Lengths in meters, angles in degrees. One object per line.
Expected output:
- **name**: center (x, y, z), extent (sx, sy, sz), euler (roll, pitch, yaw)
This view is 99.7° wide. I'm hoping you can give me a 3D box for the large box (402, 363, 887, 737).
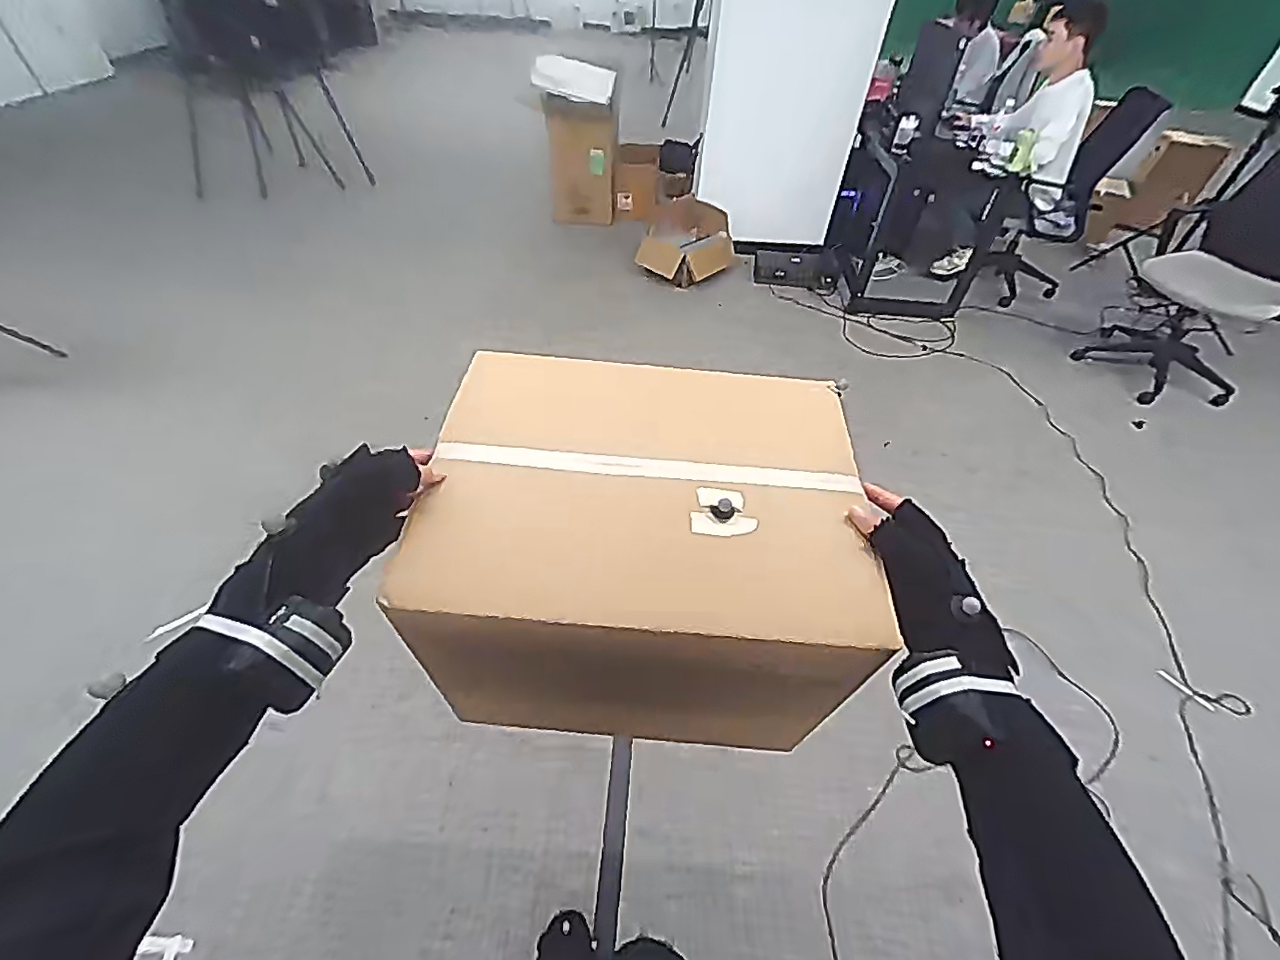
- **large box**: center (0.001, 0.091, 0.642), extent (0.408, 0.320, 0.320), euler (5, 51, -1)
